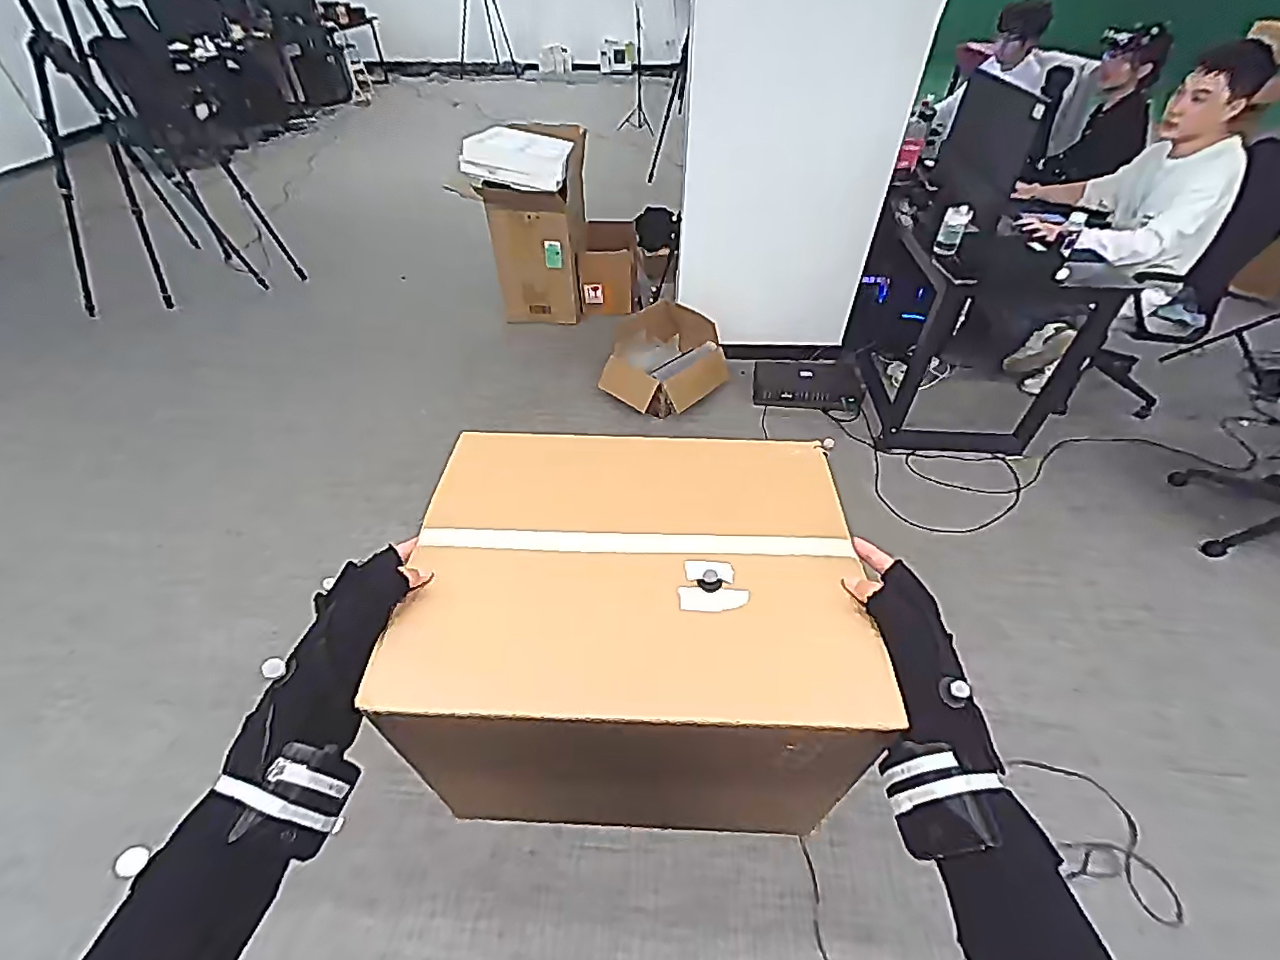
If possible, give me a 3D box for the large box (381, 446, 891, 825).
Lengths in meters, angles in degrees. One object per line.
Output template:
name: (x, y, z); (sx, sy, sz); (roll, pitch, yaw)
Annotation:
large box: (-0.004, 0.178, 0.622); (0.408, 0.320, 0.320); (2, 45, 1)
